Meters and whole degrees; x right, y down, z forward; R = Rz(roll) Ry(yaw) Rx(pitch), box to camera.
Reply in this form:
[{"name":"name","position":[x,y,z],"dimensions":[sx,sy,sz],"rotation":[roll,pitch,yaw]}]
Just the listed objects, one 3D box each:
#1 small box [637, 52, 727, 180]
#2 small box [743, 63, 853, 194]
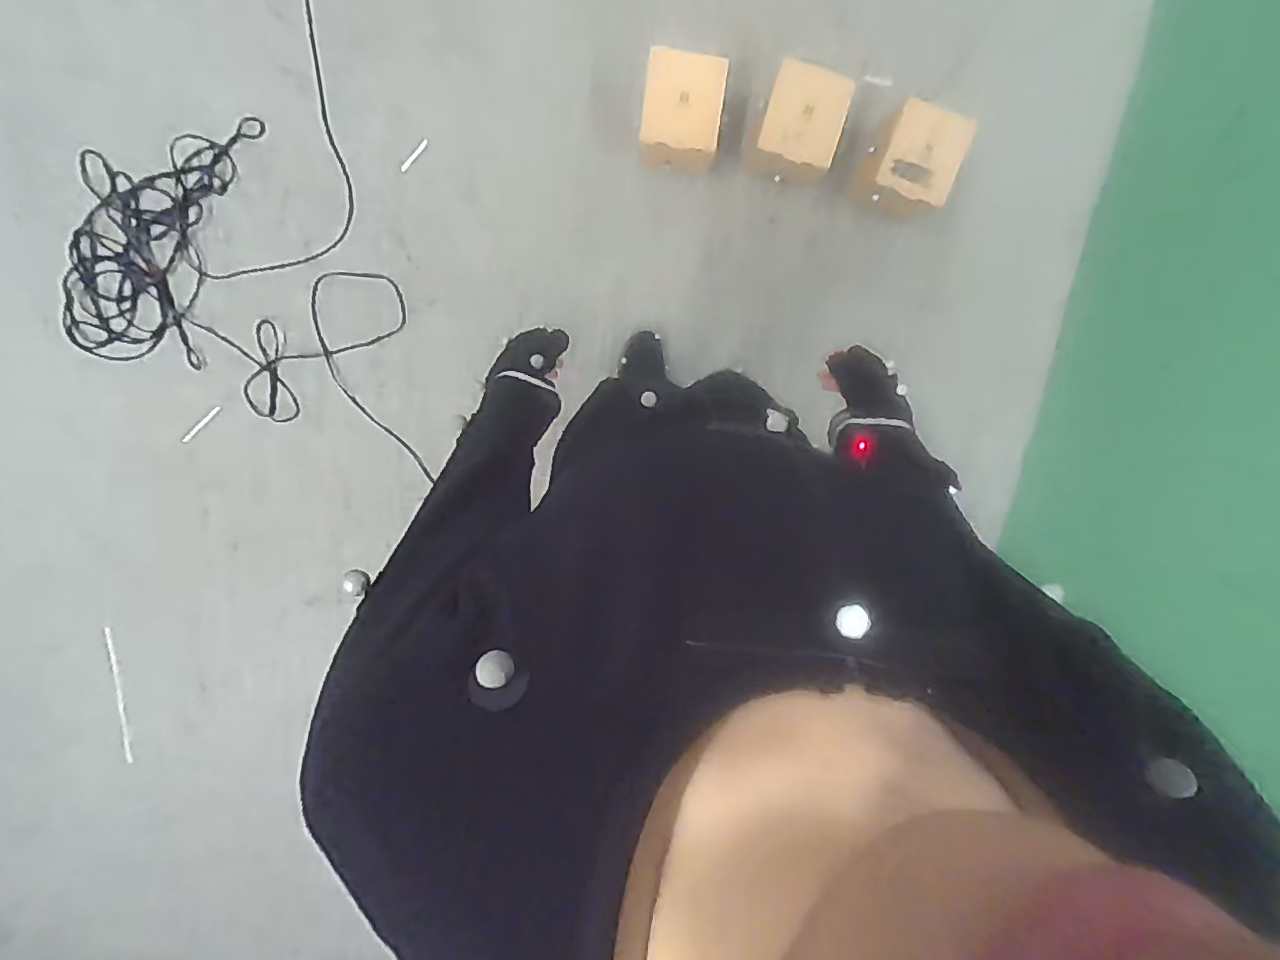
[{"name":"small box","position":[0.086,-0.795,1.199],"dimensions":[0.168,0.176,0.179],"rotation":[7,104,-3]},{"name":"small box","position":[0.341,-0.772,1.209],"dimensions":[0.168,0.176,0.179],"rotation":[15,104,-4]}]
